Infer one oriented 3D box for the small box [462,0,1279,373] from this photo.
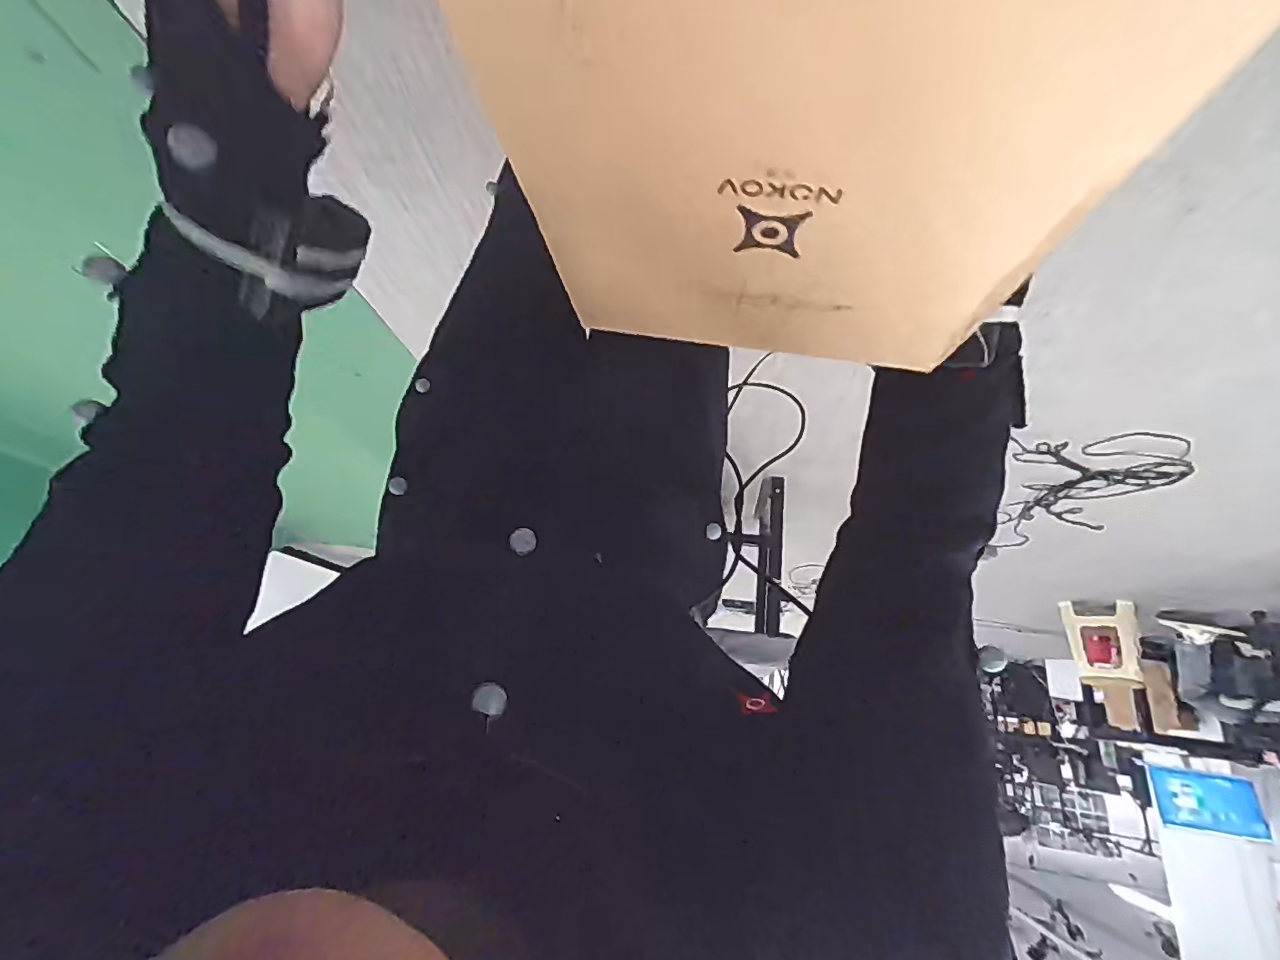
[{"bbox_3d":[0.061,-0.158,0.185,0.168,0.176,0.179,10,170,8],"label":"small box"}]
